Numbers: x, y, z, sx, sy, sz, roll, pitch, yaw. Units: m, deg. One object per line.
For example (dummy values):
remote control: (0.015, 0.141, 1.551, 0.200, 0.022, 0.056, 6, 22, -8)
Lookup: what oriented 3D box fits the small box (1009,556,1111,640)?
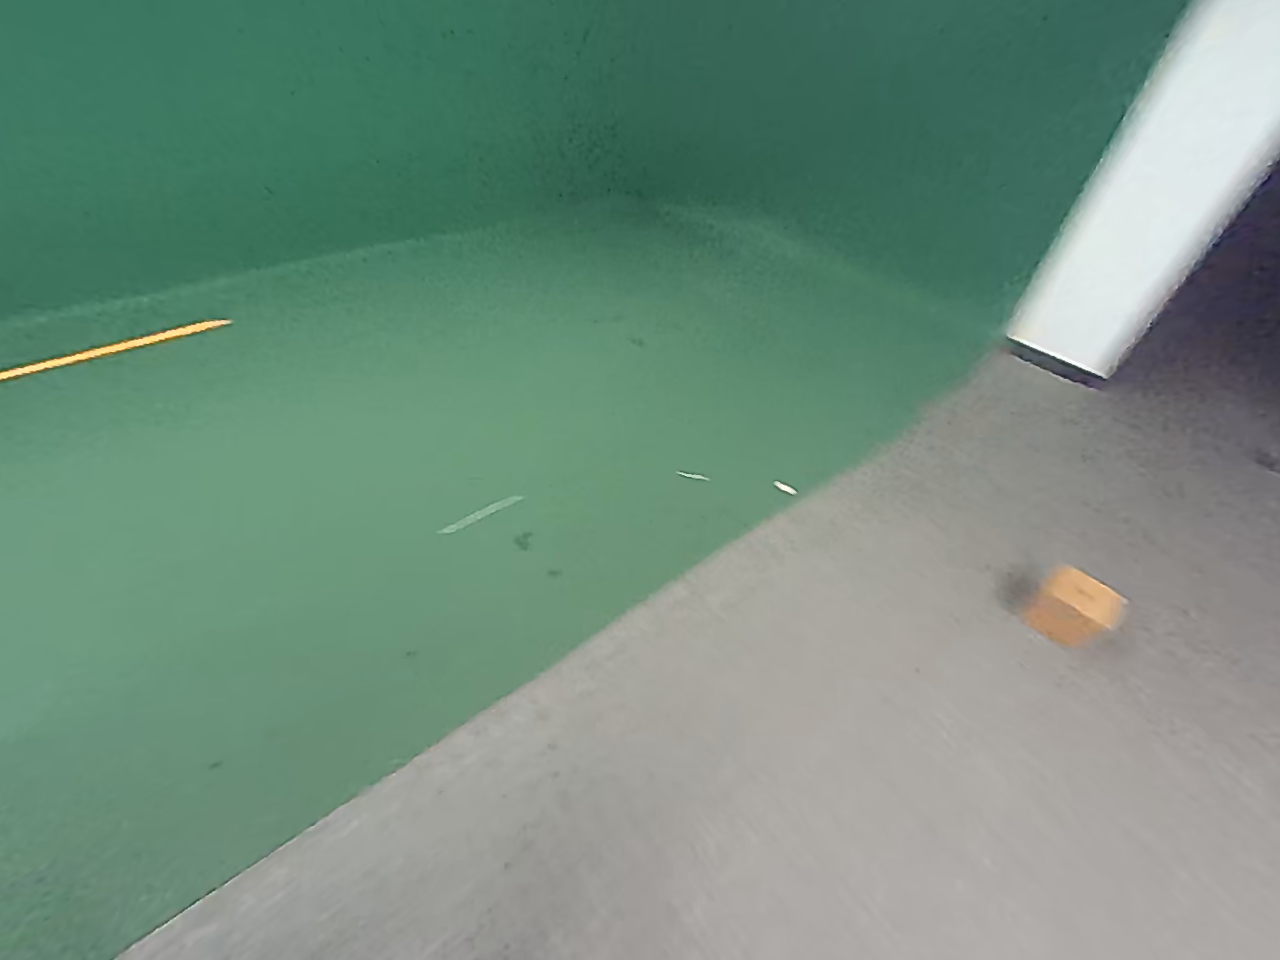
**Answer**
small box: (1.339, 0.386, 1.732, 0.168, 0.176, 0.179, -32, 55, -30)
